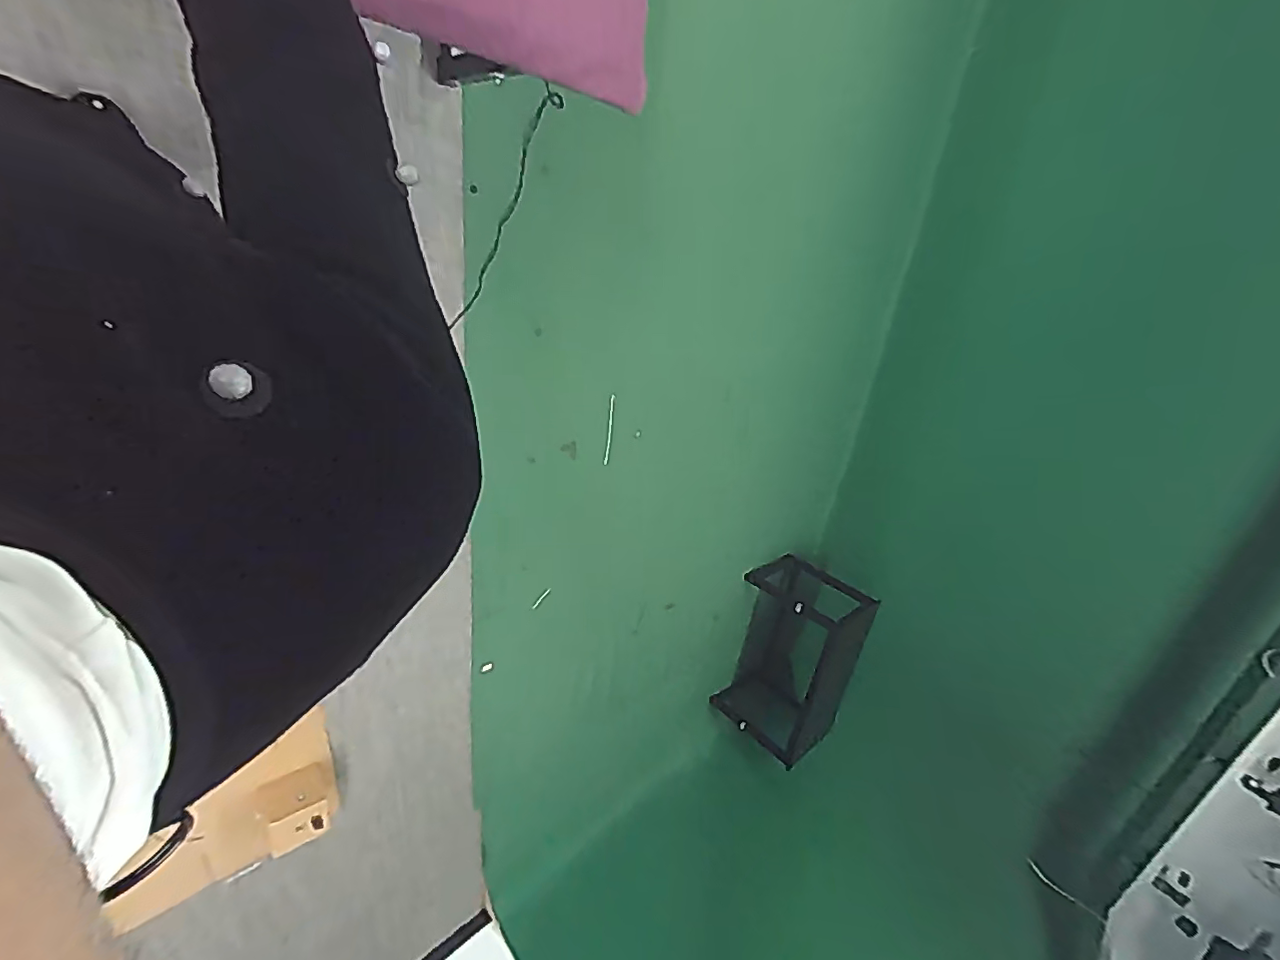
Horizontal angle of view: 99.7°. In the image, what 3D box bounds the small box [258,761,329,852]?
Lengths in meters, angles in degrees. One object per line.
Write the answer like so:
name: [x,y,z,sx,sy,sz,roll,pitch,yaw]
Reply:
small box: [-1.196,1.117,1.868,0.179,0.176,0.168,-9,119,-42]
